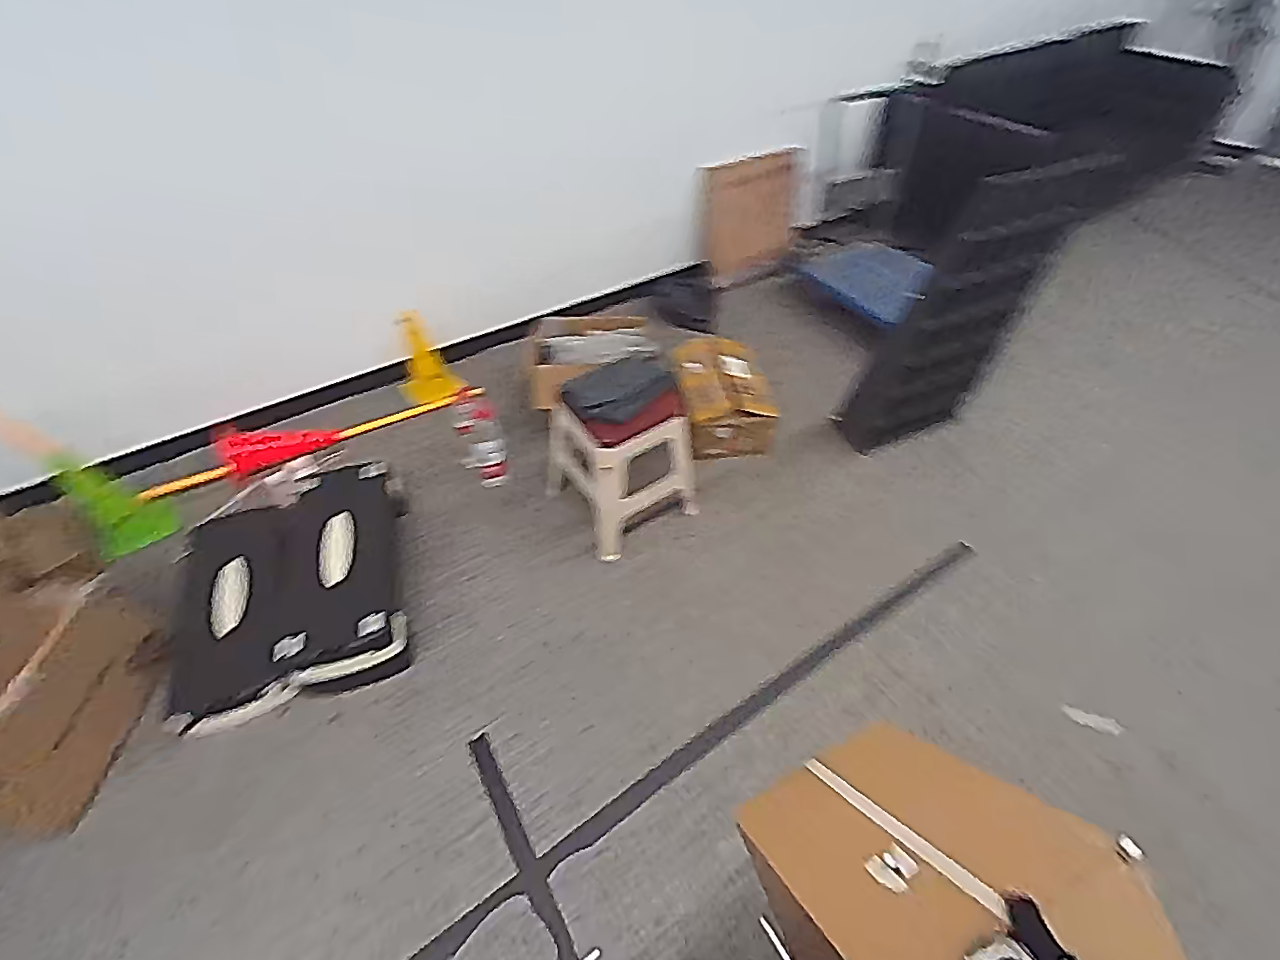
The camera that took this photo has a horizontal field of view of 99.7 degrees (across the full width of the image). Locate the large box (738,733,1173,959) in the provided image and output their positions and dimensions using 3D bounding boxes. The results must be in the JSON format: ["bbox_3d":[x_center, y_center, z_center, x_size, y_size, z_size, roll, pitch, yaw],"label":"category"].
[{"bbox_3d":[0.392,0.616,0.716,0.320,0.408,0.320,-23,91,-14],"label":"large box"}]
